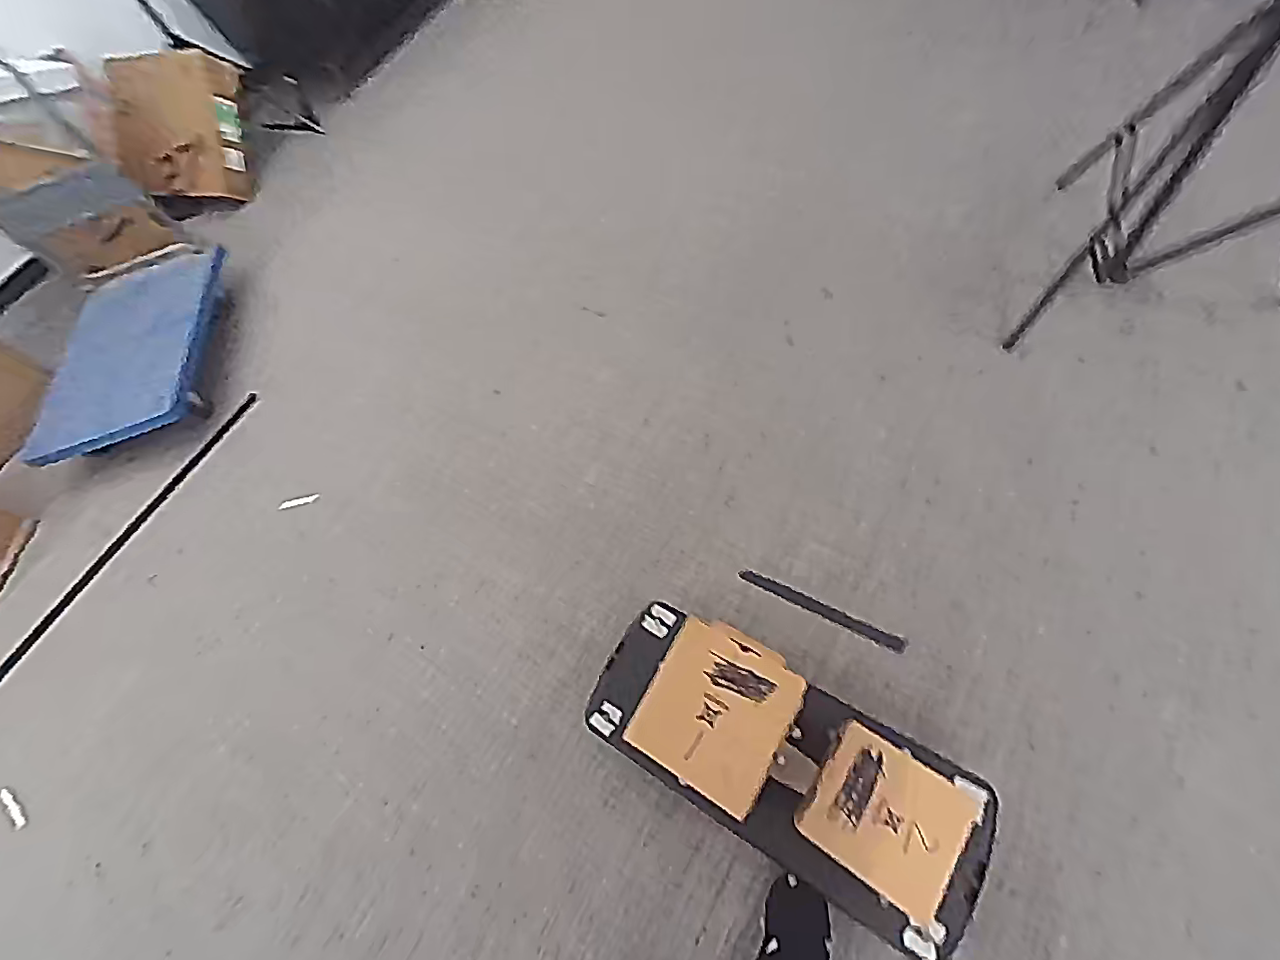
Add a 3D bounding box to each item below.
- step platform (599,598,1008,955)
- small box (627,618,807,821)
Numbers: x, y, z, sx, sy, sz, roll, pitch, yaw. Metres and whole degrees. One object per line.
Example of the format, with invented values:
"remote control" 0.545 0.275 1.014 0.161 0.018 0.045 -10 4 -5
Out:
"step platform" 0.263 0.493 0.997 0.684 0.204 0.286 24 71 25
"small box" 0.110 0.320 0.735 0.168 0.176 0.179 26 73 25
